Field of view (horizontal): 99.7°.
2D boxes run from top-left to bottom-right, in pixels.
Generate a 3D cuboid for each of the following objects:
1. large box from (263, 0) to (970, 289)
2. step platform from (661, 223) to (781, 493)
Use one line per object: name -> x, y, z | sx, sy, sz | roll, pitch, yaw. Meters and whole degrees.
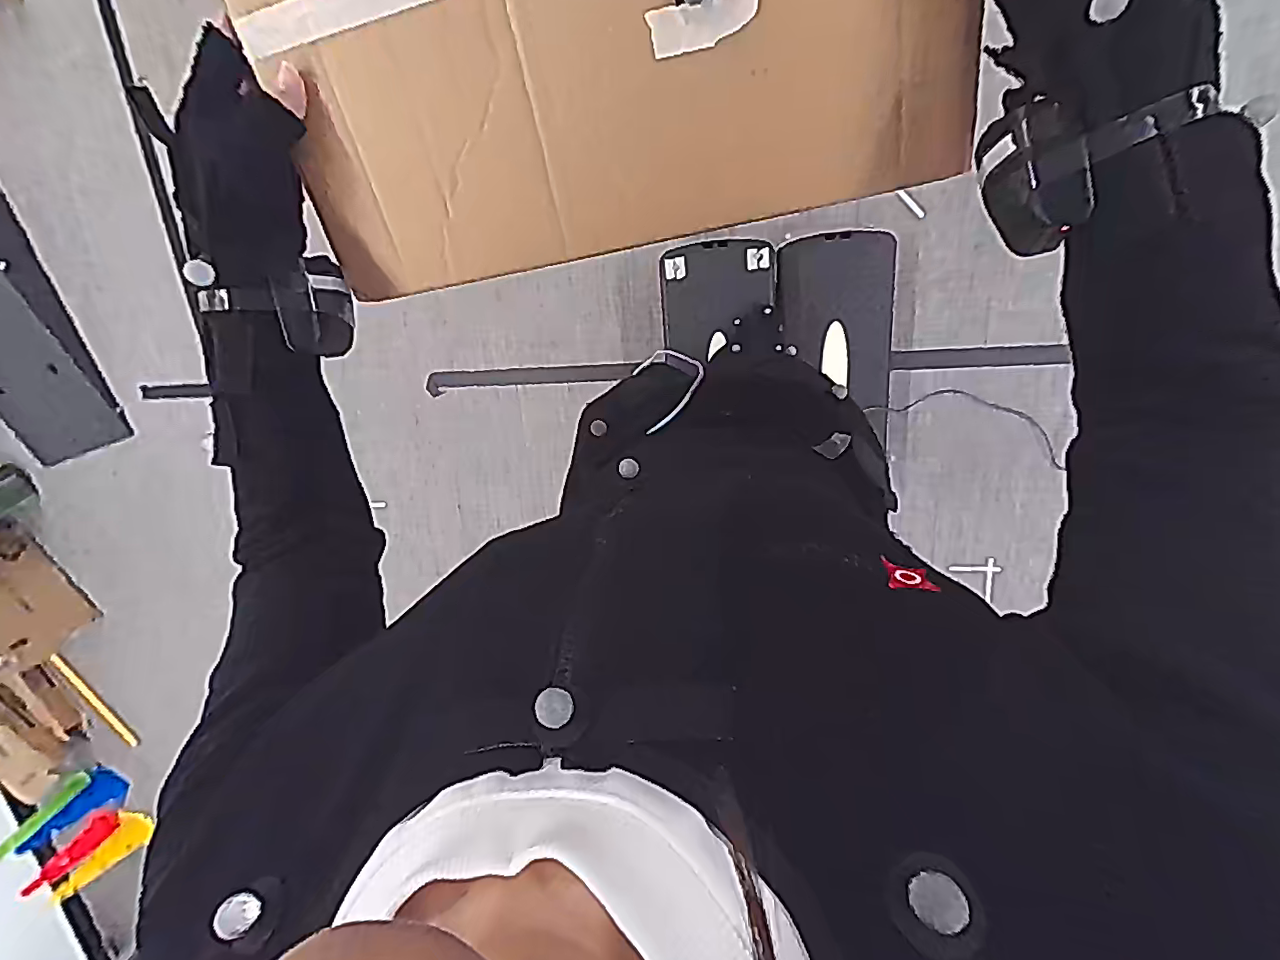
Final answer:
large box -> -0.015, -0.369, 0.421 | 0.408, 0.320, 0.320 | -7, 118, 13
step platform -> 0.222, -0.306, 1.439 | 0.286, 0.204, 0.684 | -2, 105, 12
